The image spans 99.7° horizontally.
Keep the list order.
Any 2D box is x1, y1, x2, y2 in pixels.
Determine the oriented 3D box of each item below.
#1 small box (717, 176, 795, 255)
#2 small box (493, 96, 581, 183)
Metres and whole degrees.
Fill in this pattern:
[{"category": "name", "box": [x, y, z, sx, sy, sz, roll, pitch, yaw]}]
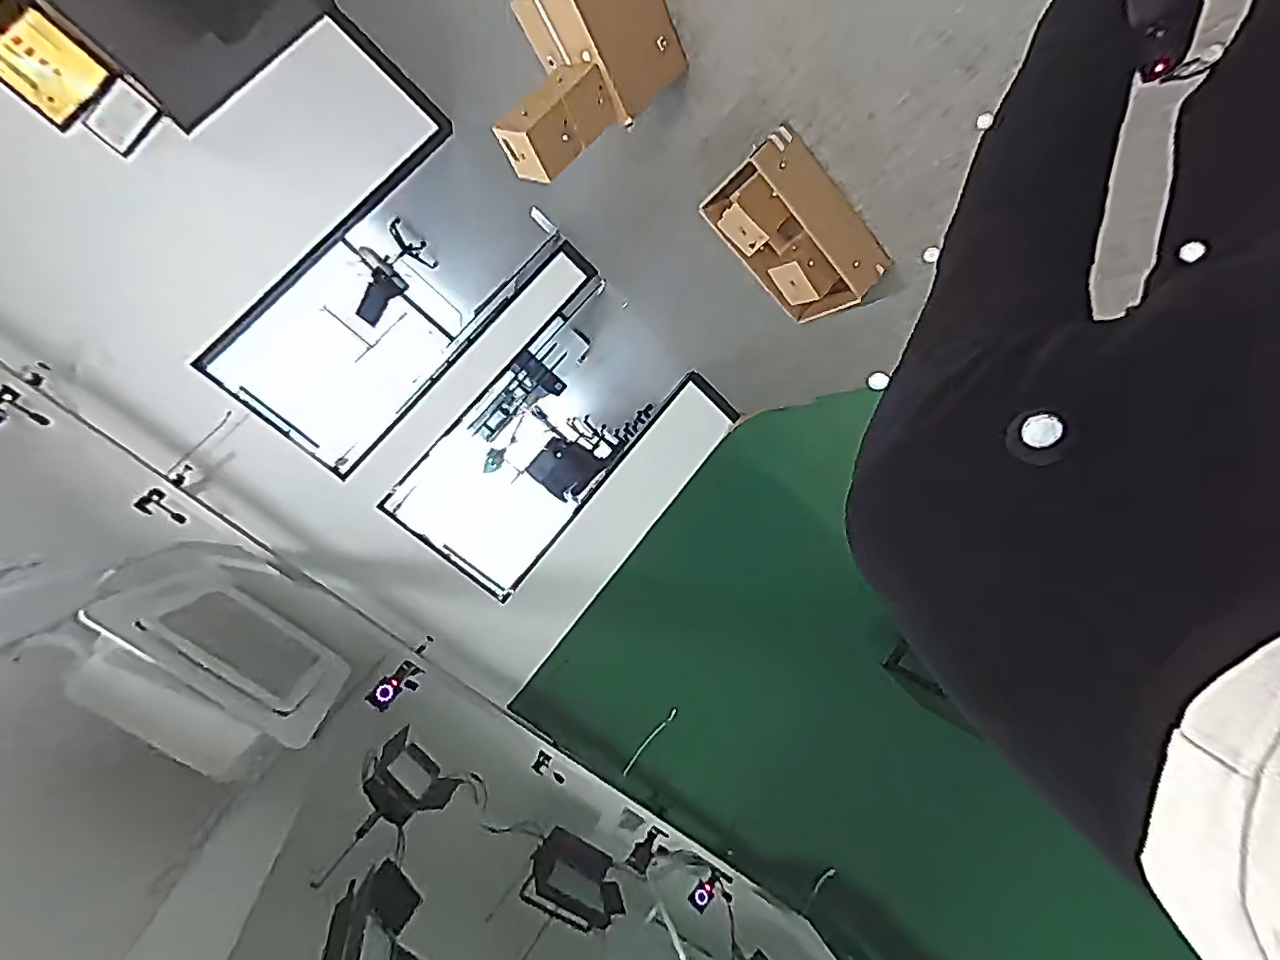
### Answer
[{"category": "small box", "box": [0.422, -0.967, 1.965, 0.179, 0.176, 0.168, 41, 170, -11]}, {"category": "small box", "box": [-0.320, -1.078, 1.708, 0.179, 0.176, 0.168, 31, 167, 33]}]
